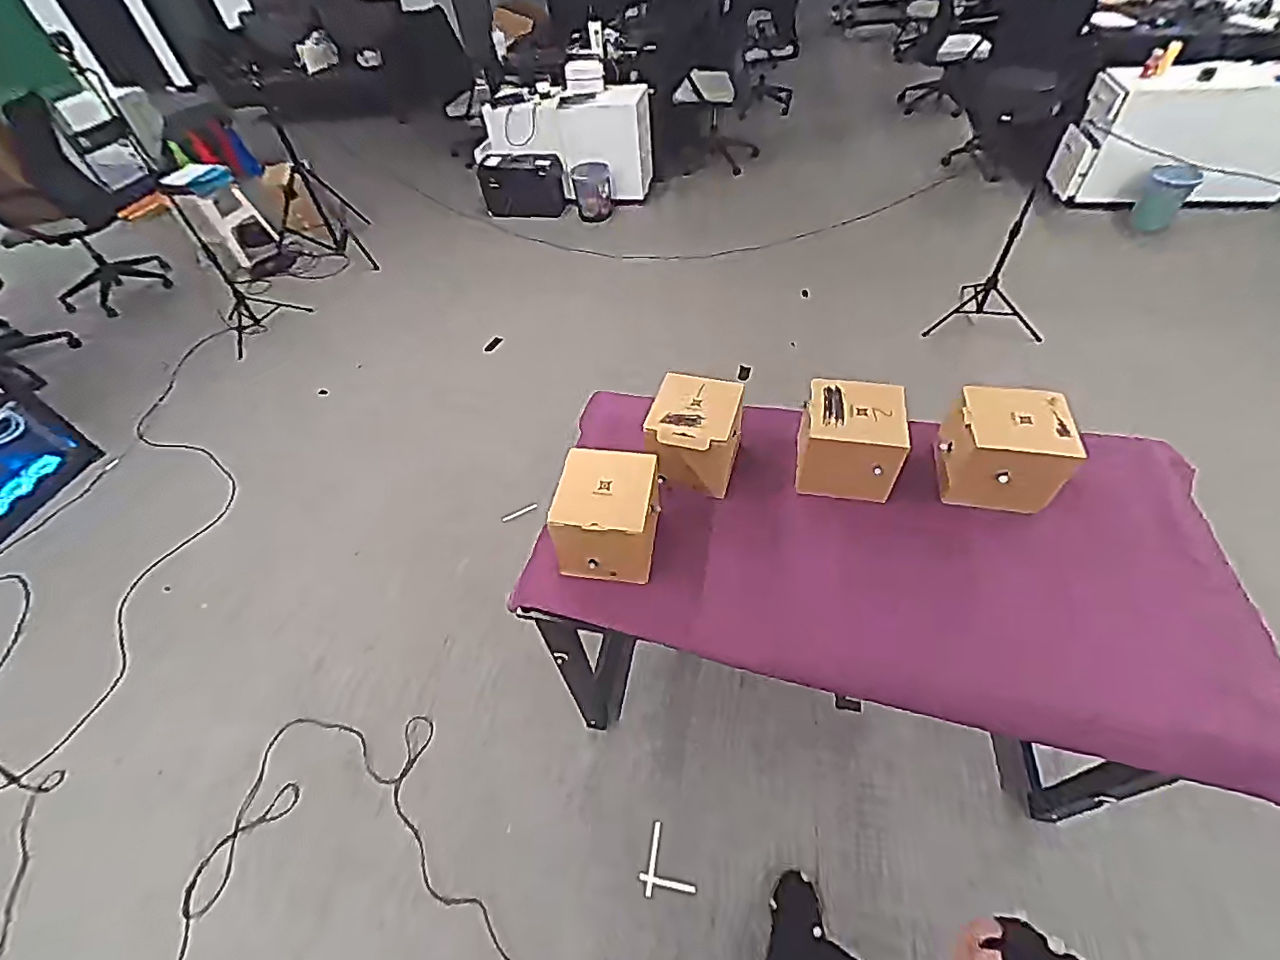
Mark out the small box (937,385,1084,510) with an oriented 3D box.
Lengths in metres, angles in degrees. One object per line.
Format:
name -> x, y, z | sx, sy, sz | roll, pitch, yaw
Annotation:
small box -> 0.682, -0.059, 1.025 | 0.179, 0.176, 0.168 | 6, 53, 12

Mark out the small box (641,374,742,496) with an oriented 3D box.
small box -> 0.110, -0.090, 1.112 | 0.168, 0.176, 0.179 | 11, 52, 14

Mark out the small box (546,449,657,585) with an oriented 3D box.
small box -> -0.061, 0.068, 0.992 | 0.168, 0.176, 0.179 | 5, 51, 7
